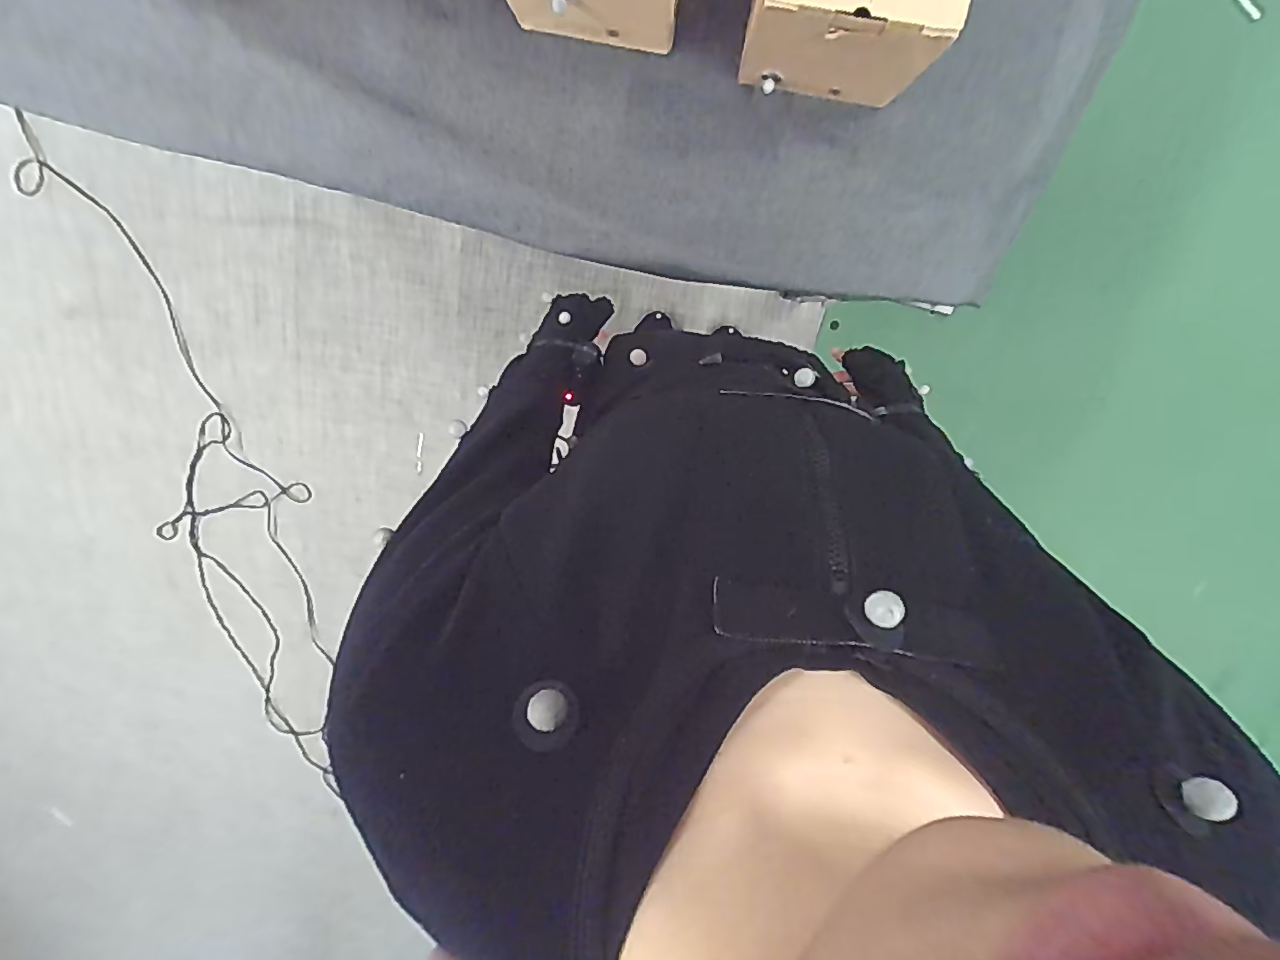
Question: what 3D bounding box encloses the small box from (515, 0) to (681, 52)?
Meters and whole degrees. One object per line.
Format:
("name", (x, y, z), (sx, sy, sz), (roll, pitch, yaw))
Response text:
("small box", (-0.036, -0.526, 0.482), (0.168, 0.176, 0.179), (10, 108, 0))
